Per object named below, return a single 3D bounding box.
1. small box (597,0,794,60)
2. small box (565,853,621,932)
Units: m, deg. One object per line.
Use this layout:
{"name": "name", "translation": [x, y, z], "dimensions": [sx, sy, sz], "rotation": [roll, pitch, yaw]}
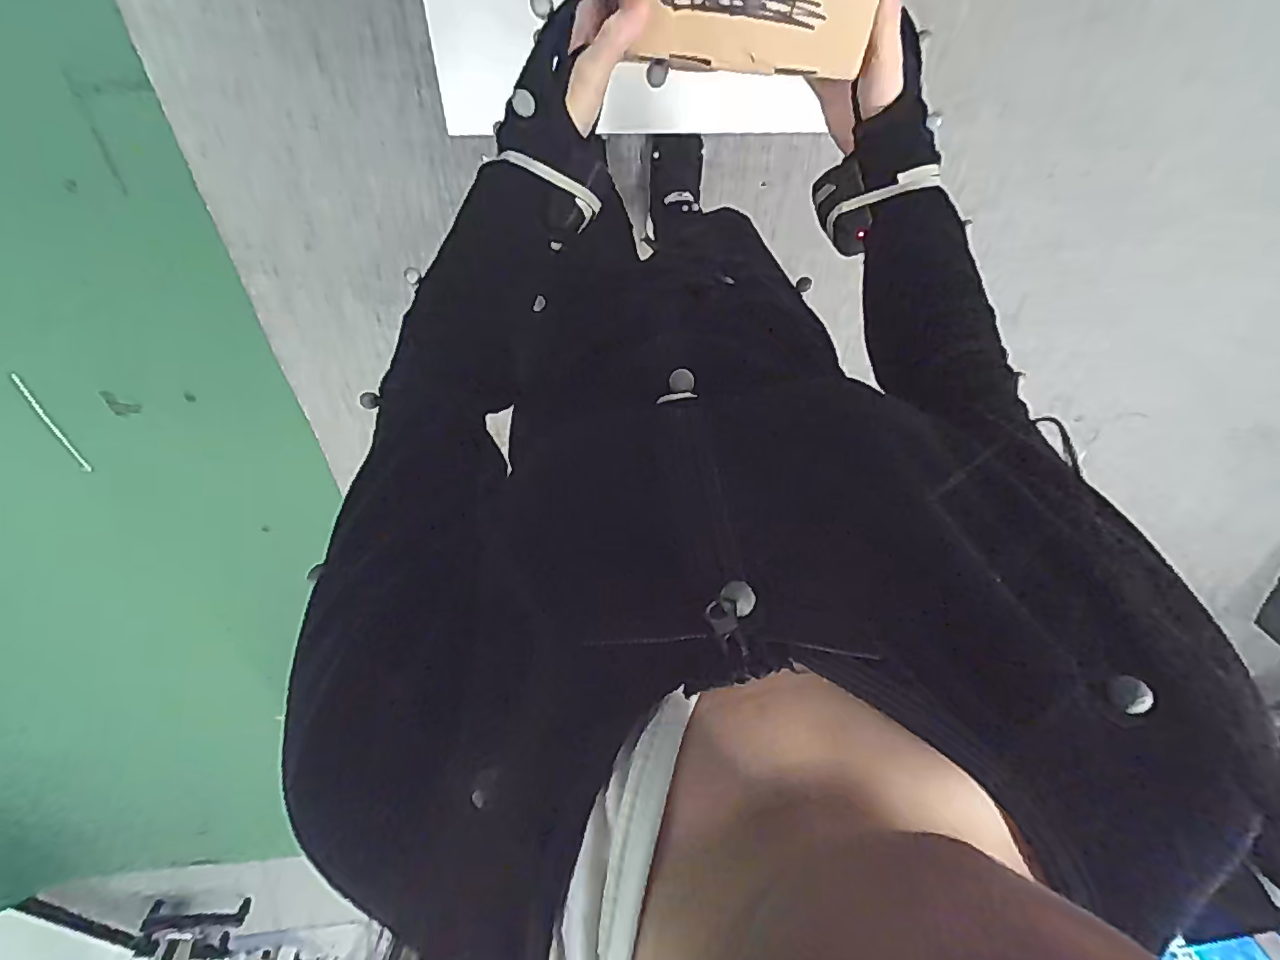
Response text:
{"name": "small box", "translation": [0.046, -0.498, 0.489], "dimensions": [0.168, 0.176, 0.179], "rotation": [-1, 128, -6]}
{"name": "small box", "translation": [-0.157, 1.350, 1.773], "dimensions": [0.168, 0.176, 0.179], "rotation": [2, 129, -9]}
